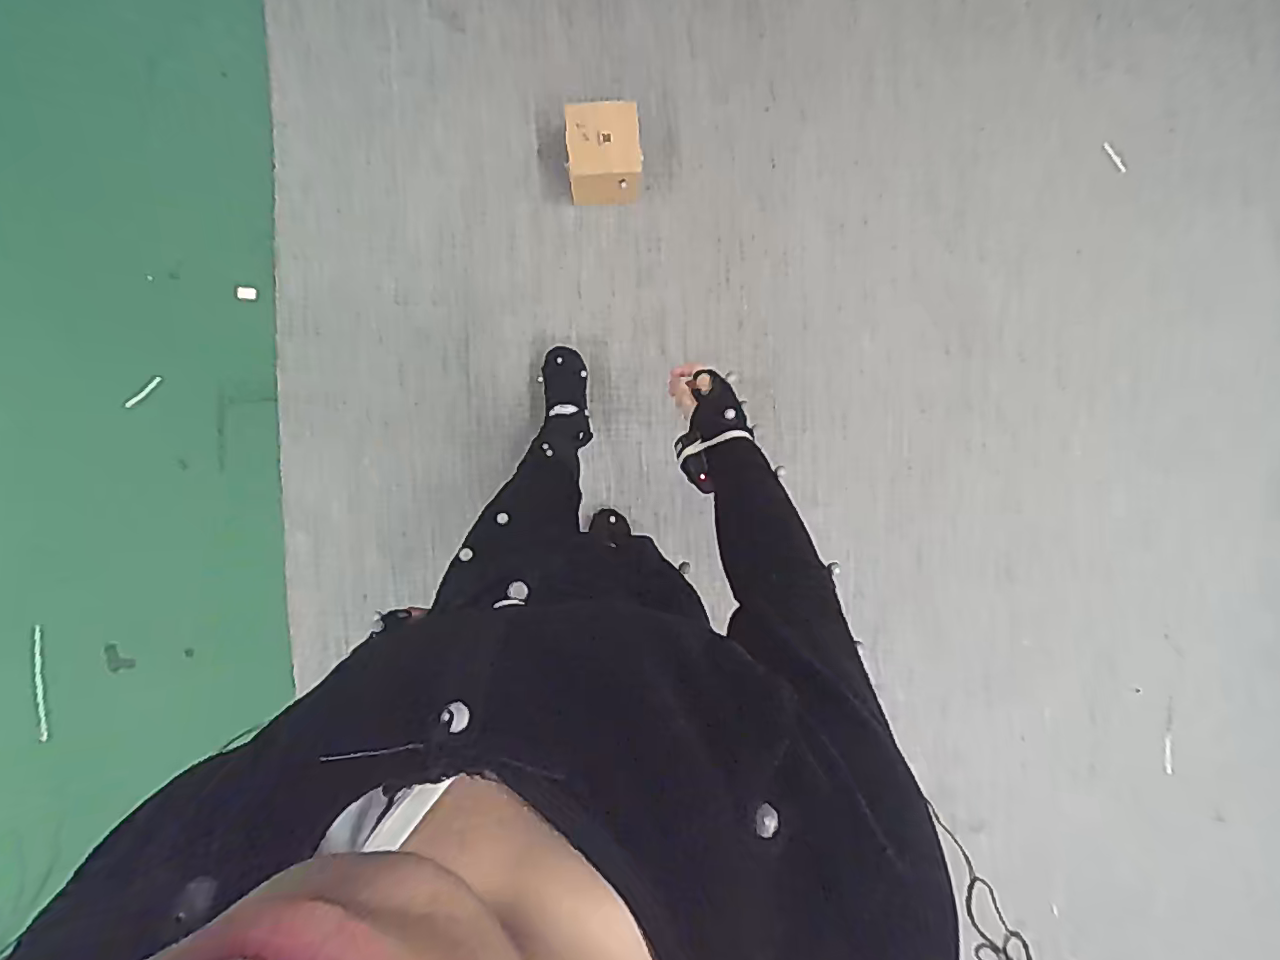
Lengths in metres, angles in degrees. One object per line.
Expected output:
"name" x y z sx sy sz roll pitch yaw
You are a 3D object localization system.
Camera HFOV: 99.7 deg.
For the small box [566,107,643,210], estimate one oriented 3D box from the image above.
"small box" -0.089 -0.803 1.363 0.179 0.176 0.168 -5 93 -2
